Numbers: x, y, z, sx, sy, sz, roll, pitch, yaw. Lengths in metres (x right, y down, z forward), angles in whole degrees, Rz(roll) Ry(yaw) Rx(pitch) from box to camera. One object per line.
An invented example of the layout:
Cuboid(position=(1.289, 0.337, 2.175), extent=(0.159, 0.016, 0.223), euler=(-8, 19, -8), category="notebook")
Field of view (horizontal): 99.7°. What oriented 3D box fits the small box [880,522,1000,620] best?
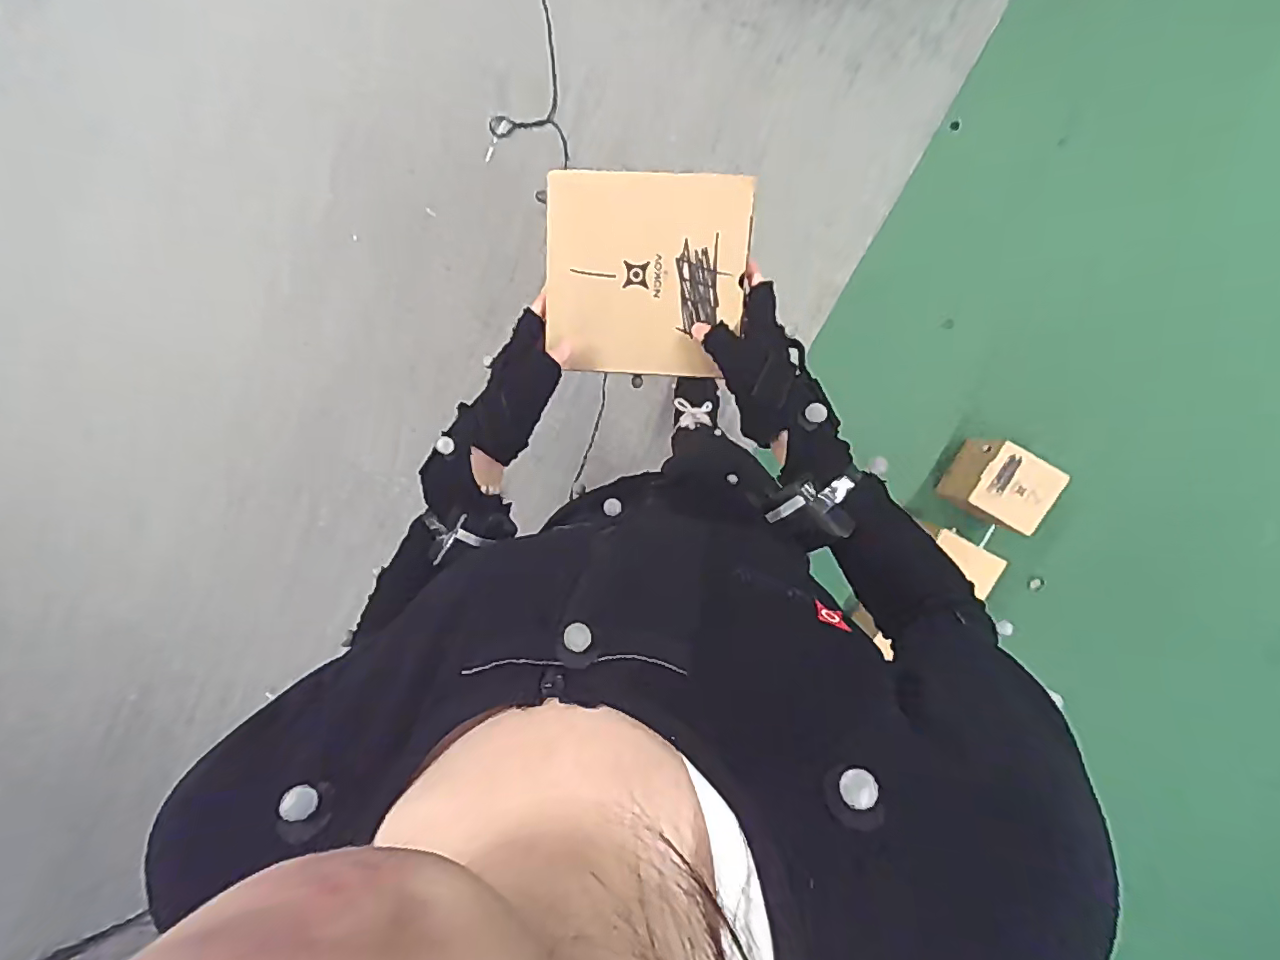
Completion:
Cuboid(position=(0.757, 0.224, 1.384), extent=(0.179, 0.176, 0.168), euler=(28, 98, 1), category="small box")
